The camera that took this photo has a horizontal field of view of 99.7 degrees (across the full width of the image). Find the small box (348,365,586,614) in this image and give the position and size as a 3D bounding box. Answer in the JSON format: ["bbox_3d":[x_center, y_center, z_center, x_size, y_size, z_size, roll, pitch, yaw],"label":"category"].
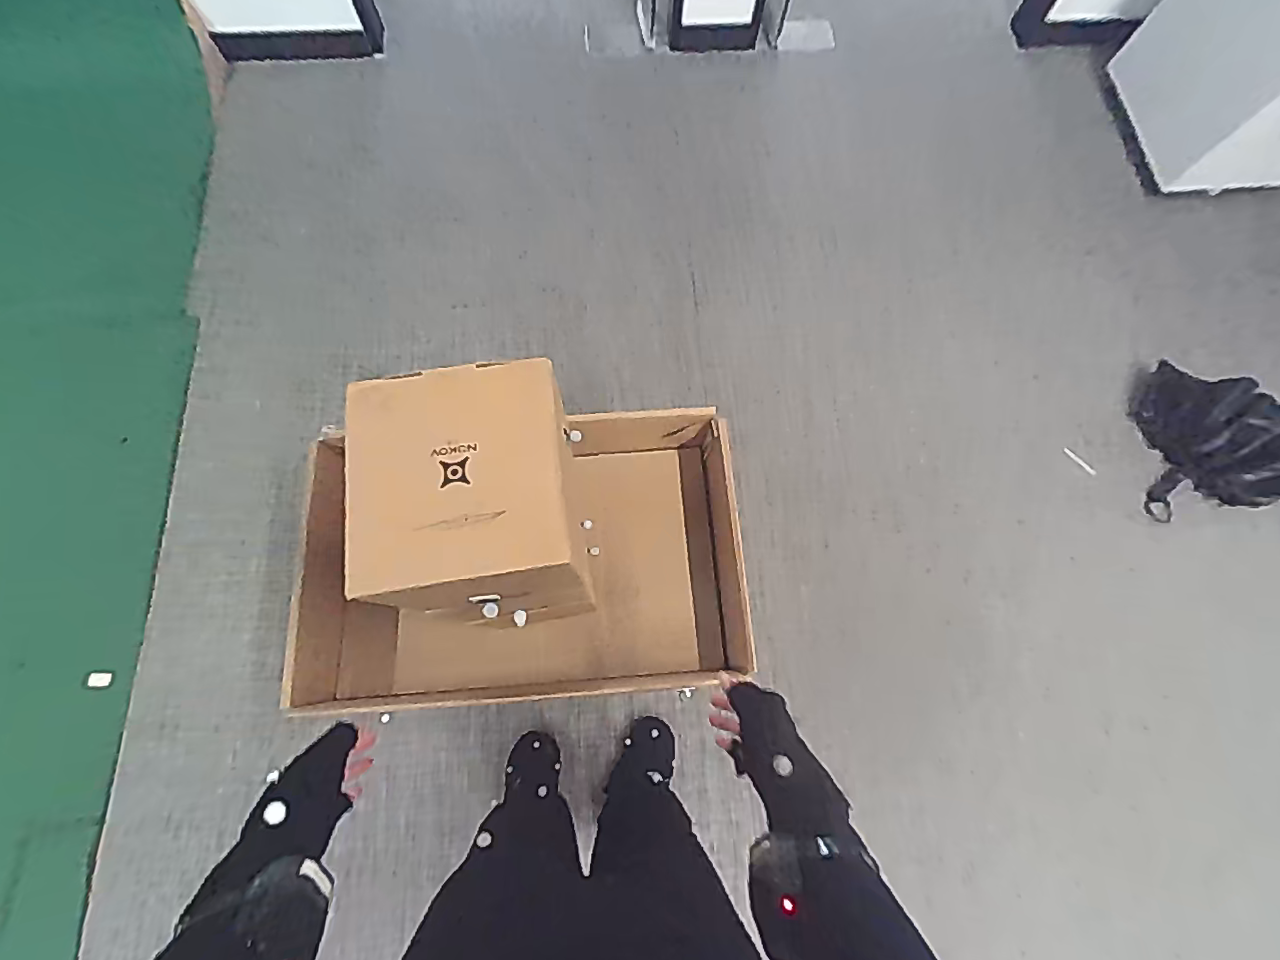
[{"bbox_3d":[-0.147,0.020,0.501,0.168,0.176,0.179,-9,73,-3],"label":"small box"}]

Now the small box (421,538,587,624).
[{"bbox_3d":[-0.159,0.069,0.654,0.168,0.176,0.179,-9,73,-4],"label":"small box"}]

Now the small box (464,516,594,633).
[{"bbox_3d":[-0.165,0.123,0.809,0.168,0.176,0.179,-10,72,-4],"label":"small box"}]
